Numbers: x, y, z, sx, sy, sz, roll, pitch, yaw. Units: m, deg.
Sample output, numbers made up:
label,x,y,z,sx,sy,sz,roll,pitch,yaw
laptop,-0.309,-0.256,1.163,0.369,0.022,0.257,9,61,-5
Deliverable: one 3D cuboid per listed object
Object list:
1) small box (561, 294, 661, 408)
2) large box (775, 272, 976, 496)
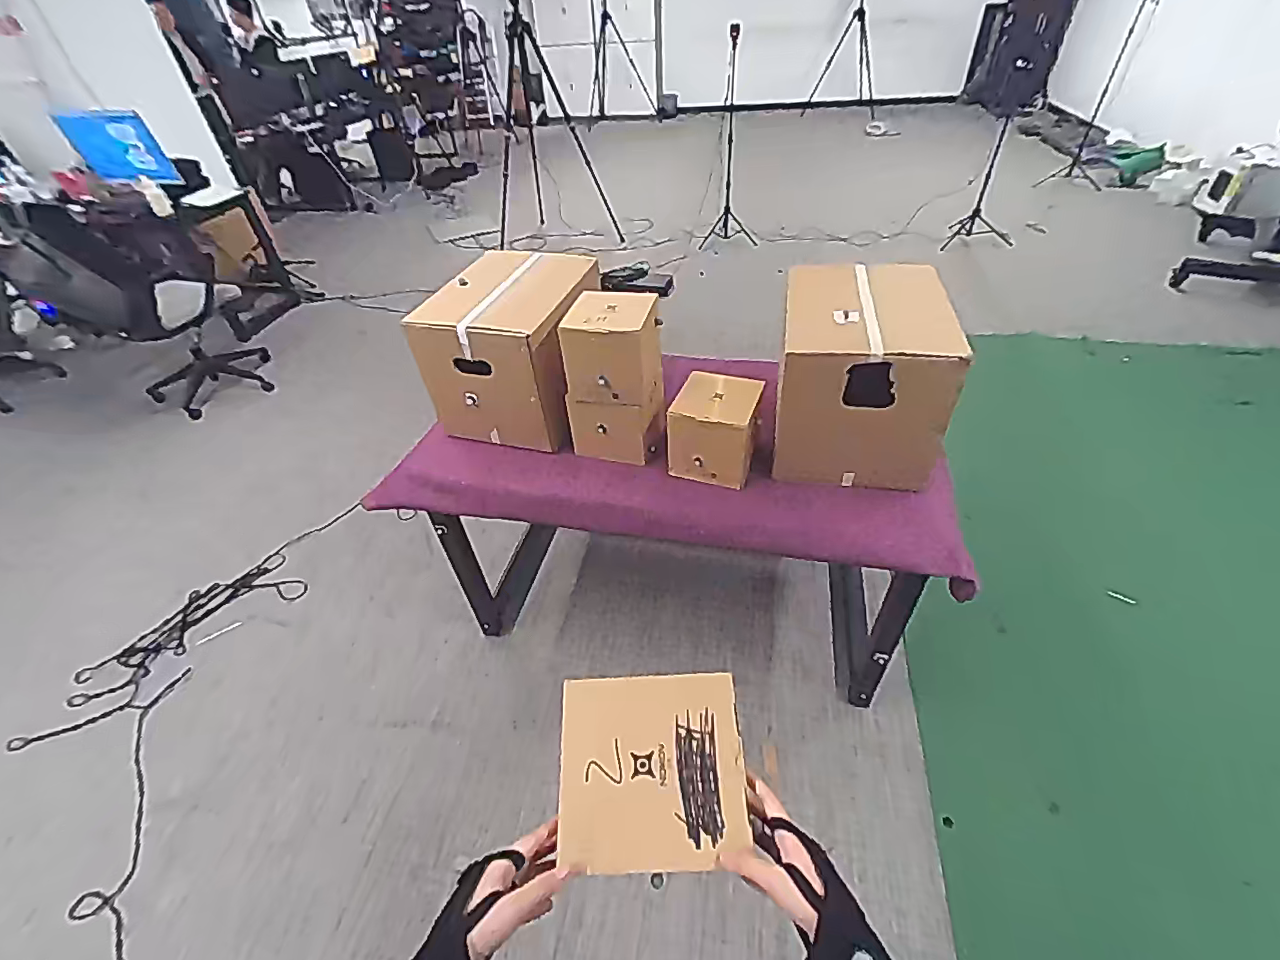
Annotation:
label,x,y,z,sx,sy,sz,roll,pitch,yaw
small box,-0.052,-0.274,1.137,0.168,0.176,0.179,6,43,13
large box,0.466,-0.220,1.176,0.320,0.320,0.408,4,43,13
